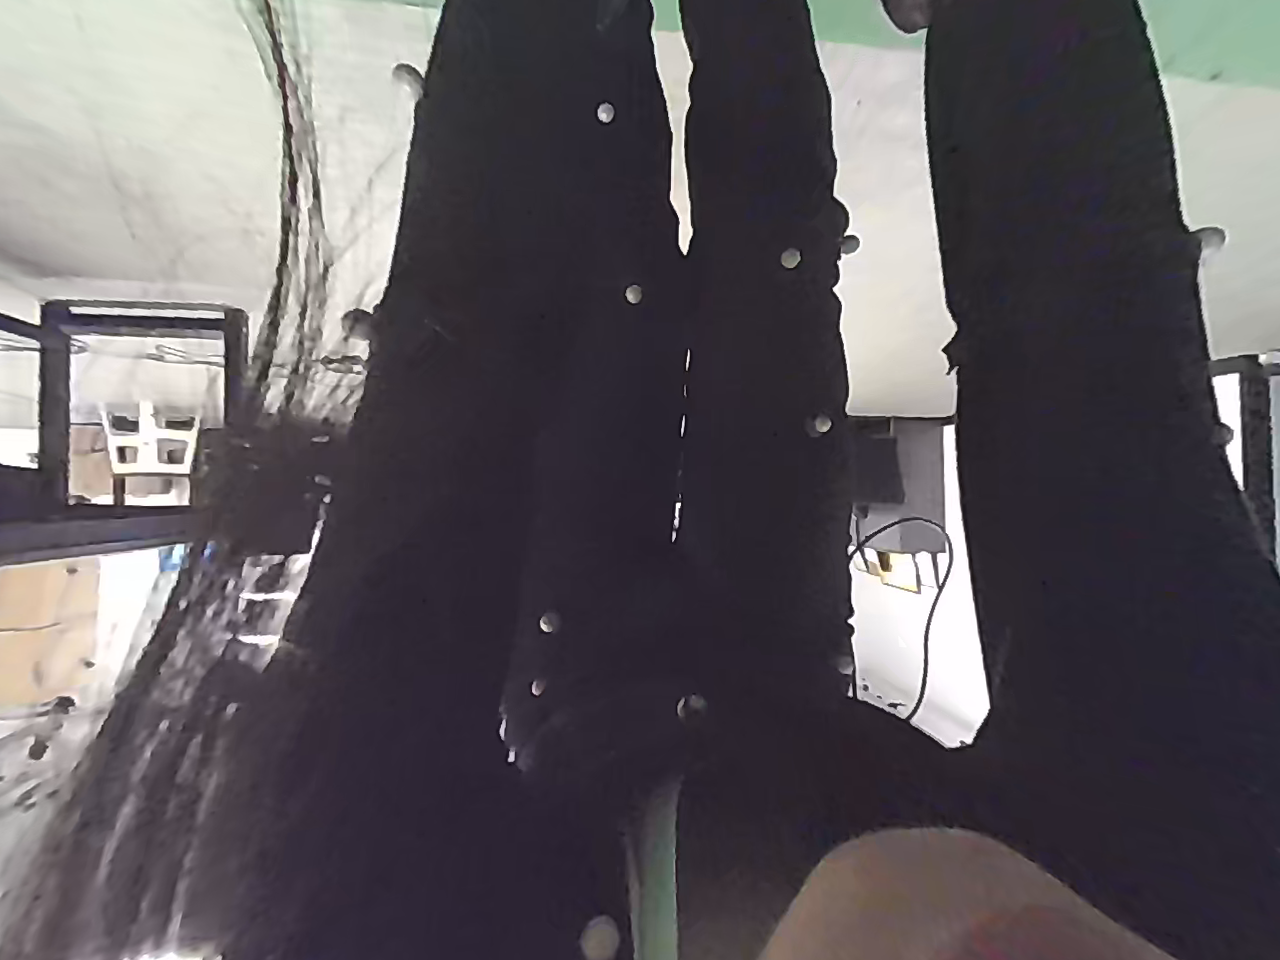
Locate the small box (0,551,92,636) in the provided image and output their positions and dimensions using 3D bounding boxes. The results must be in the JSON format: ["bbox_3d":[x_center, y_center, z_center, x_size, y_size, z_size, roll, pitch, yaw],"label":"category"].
[{"bbox_3d":[-1.402,0.250,1.225,0.179,0.176,0.168,0,179,-8],"label":"small box"}]
